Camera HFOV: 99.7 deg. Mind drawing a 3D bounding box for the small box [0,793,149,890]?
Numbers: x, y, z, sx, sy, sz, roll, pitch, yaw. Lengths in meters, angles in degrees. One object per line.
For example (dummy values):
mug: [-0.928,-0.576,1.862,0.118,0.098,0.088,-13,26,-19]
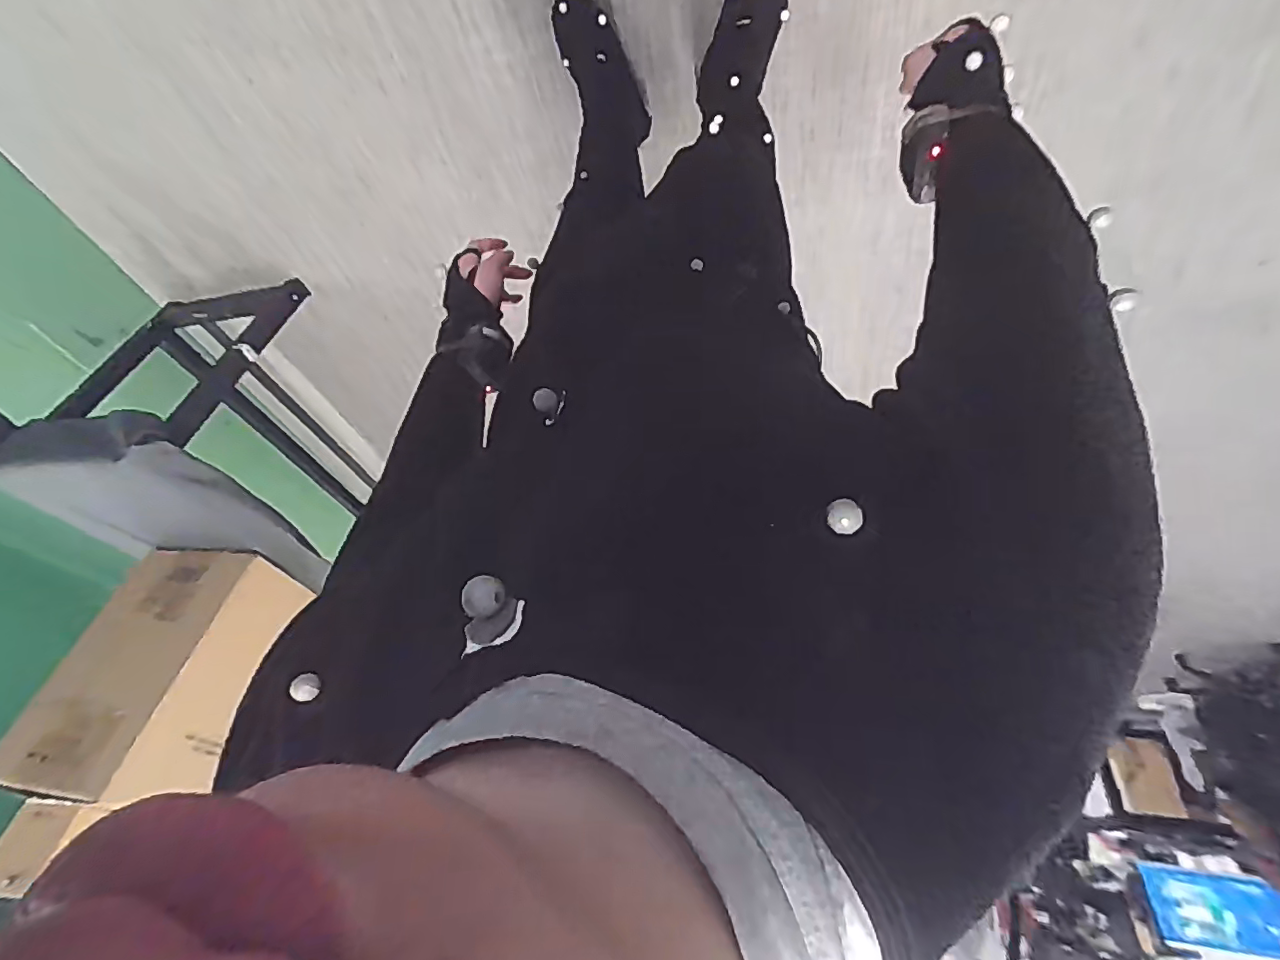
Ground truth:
small box: [-1.335,0.849,1.272,0.168,0.176,0.179,-3,143,11]
